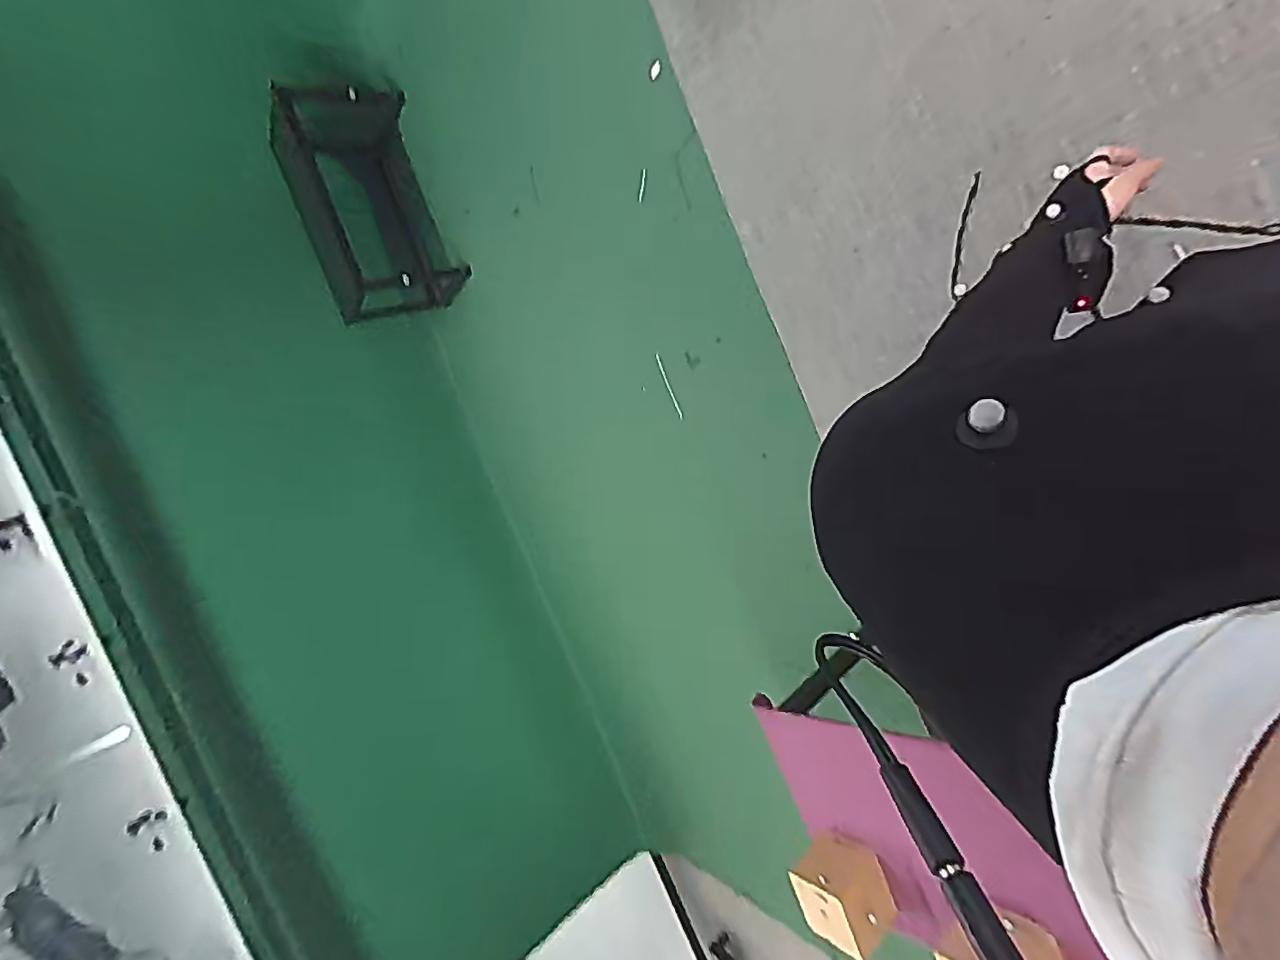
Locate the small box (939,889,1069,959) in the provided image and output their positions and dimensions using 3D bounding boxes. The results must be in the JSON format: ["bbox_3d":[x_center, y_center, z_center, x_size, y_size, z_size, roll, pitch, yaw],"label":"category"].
[{"bbox_3d":[0.750,0.994,1.092,0.168,0.176,0.179,-18,94,56],"label":"small box"}]

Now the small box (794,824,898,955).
[{"bbox_3d":[0.544,1.061,1.417,0.168,0.176,0.179,-17,97,55],"label":"small box"}]
